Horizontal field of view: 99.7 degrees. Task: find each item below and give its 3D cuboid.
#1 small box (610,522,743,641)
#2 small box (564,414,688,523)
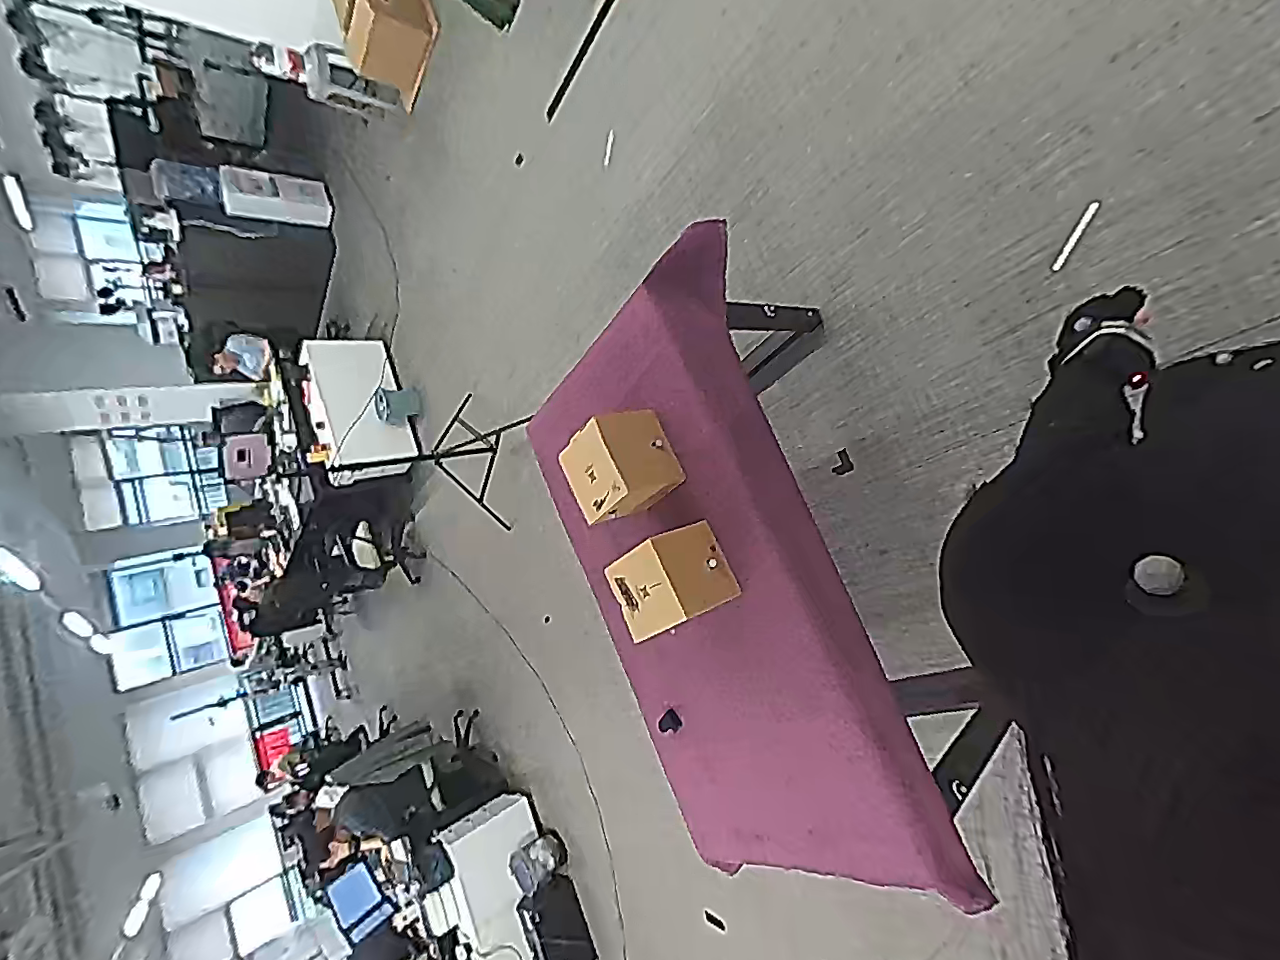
[{"bbox_3d":[0.074,0.204,1.102,0.179,0.176,0.168,-41,69,46],"label":"small box"},{"bbox_3d":[-0.031,-0.030,1.162,0.168,0.176,0.179,-41,69,47],"label":"small box"}]
